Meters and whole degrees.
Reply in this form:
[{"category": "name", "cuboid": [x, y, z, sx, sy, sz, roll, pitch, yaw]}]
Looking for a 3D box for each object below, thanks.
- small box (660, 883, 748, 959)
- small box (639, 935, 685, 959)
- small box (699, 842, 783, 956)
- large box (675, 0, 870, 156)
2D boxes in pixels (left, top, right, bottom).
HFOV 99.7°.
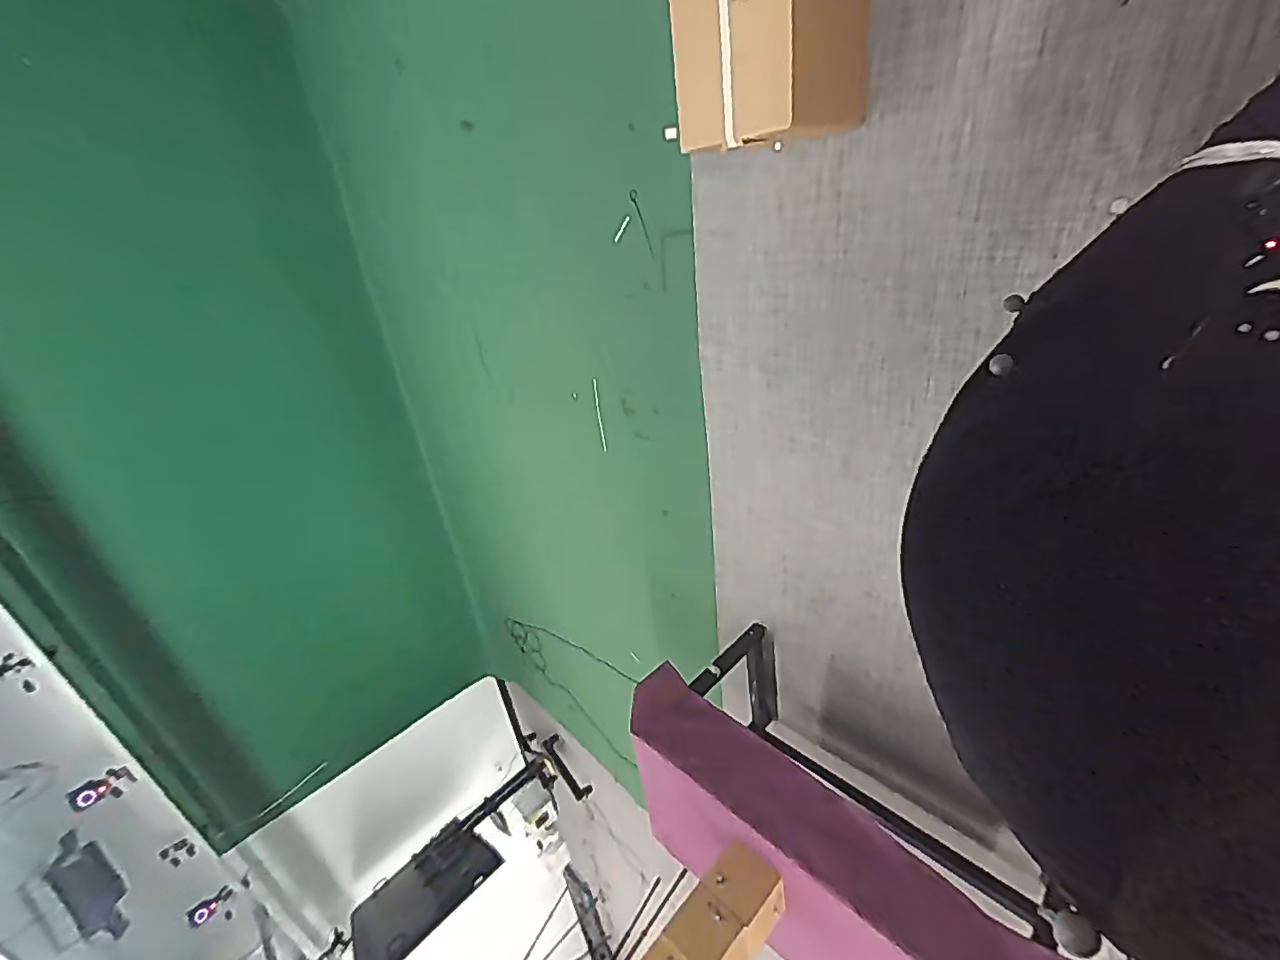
[{"category": "small box", "cuboid": [0.181, 1.270, 1.479, 0.168, 0.176, 0.179, 16, 125, 44]}, {"category": "small box", "cuboid": [0.068, 1.341, 1.385, 0.168, 0.176, 0.179, 13, 123, 45]}, {"category": "small box", "cuboid": [0.296, 1.202, 1.573, 0.179, 0.176, 0.168, 18, 127, 44]}, {"category": "large box", "cuboid": [0.300, -0.990, 1.220, 0.320, 0.320, 0.408, 20, 127, 43]}]
